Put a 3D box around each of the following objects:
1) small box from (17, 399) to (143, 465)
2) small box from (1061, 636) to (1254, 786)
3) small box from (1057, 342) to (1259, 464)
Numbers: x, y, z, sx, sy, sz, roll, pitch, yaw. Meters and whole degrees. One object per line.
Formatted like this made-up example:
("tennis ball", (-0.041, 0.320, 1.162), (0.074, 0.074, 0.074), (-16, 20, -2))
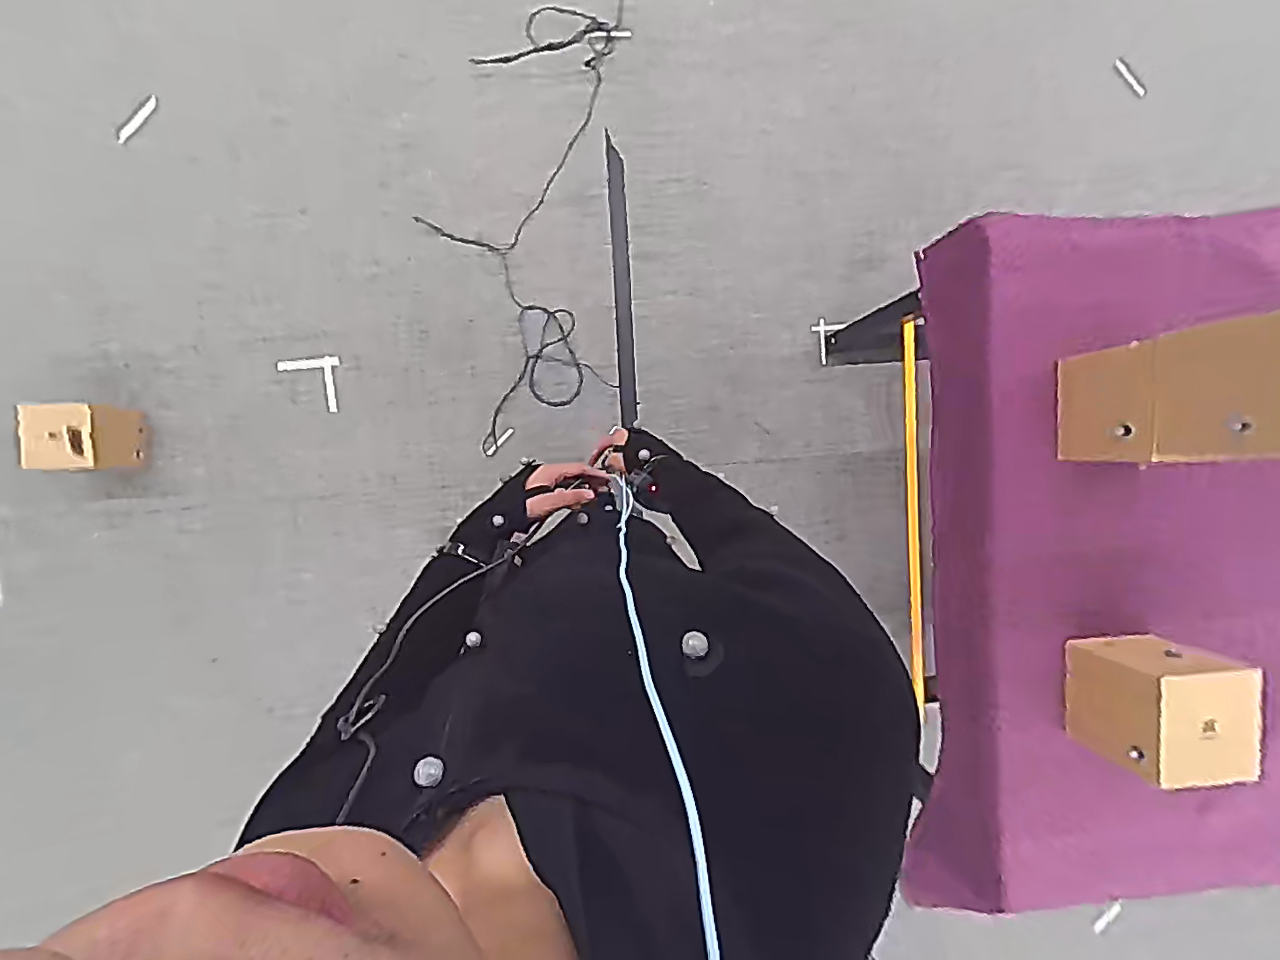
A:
("small box", (-1.477, -0.126, 1.441), (0.179, 0.176, 0.168), (-1, 93, -3))
("small box", (0.841, 0.368, 0.894), (0.168, 0.176, 0.179), (-2, 94, -4))
("small box", (0.808, -0.118, 0.861), (0.168, 0.176, 0.179), (-2, 94, -4))
